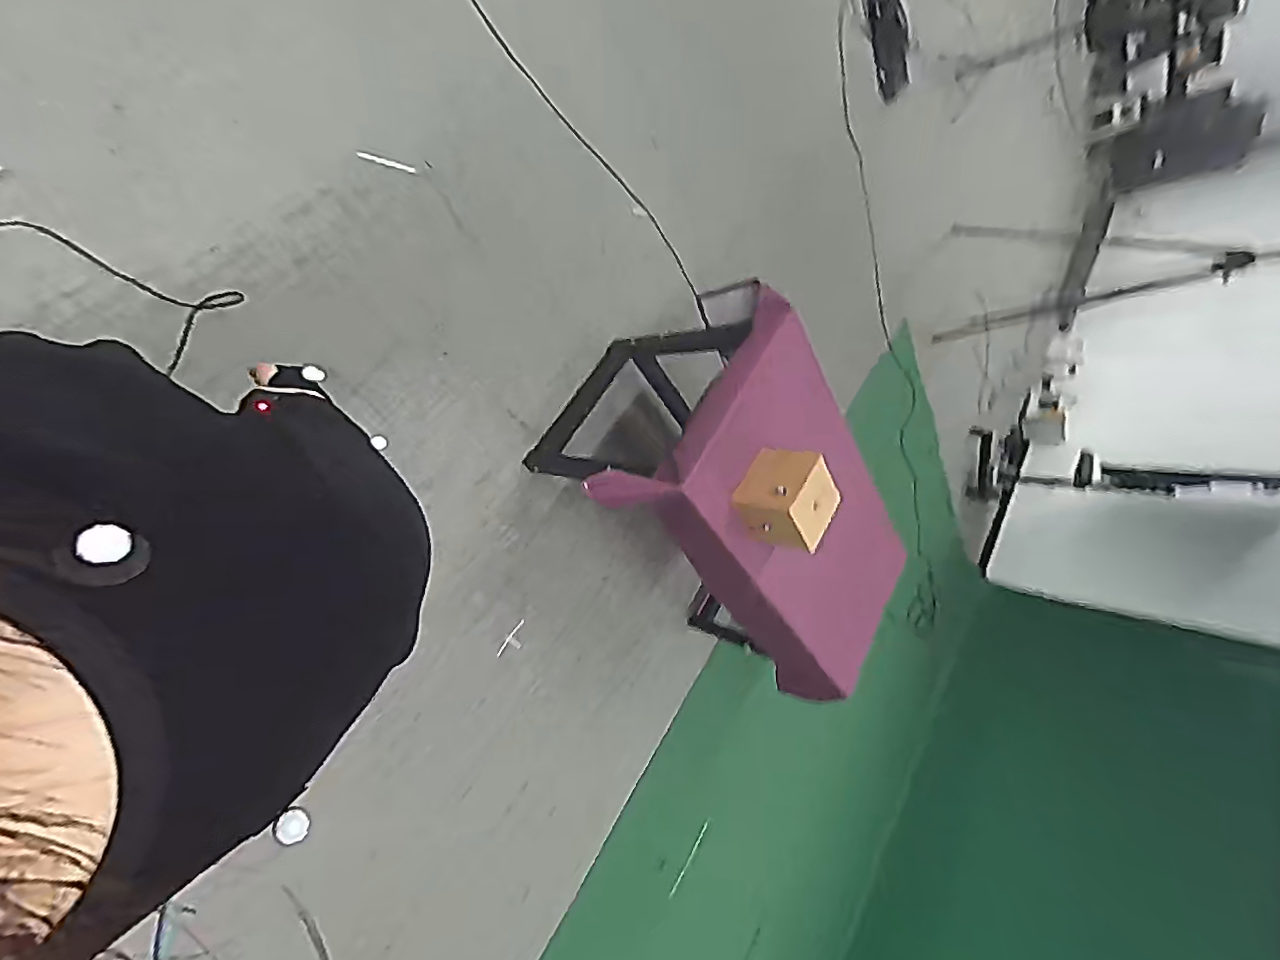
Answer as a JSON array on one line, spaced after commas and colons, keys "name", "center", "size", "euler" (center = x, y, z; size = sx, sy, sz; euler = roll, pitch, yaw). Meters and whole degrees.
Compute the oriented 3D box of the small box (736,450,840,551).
[{"name": "small box", "center": [0.356, 0.044, 1.322], "size": [0.179, 0.176, 0.168], "euler": [-55, 129, -23]}]
